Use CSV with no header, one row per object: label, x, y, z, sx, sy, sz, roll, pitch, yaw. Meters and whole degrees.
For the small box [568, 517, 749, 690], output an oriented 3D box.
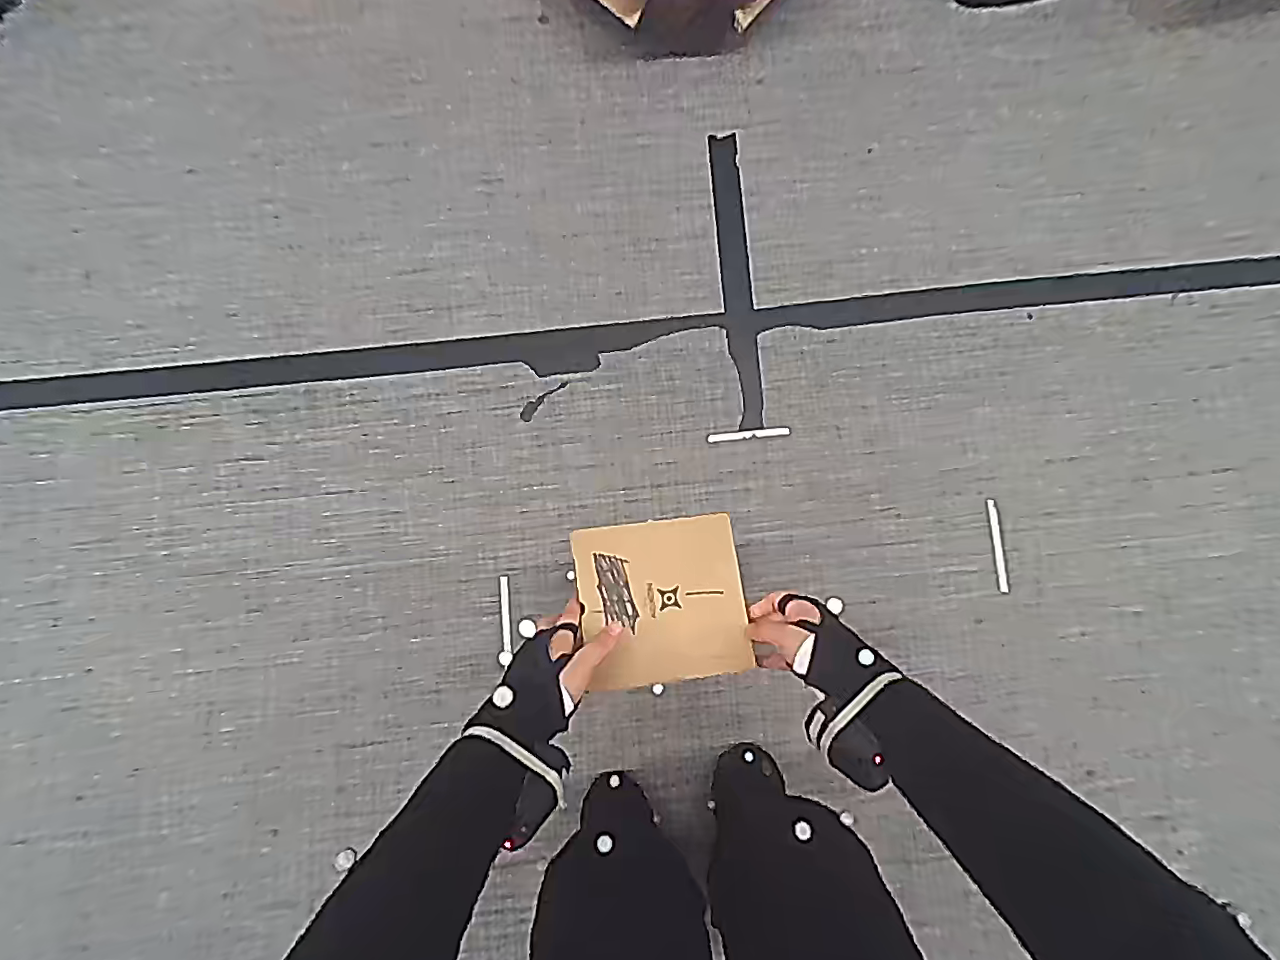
small box,0.013,0.149,0.646,0.179,0.176,0.168,-6,75,-6
